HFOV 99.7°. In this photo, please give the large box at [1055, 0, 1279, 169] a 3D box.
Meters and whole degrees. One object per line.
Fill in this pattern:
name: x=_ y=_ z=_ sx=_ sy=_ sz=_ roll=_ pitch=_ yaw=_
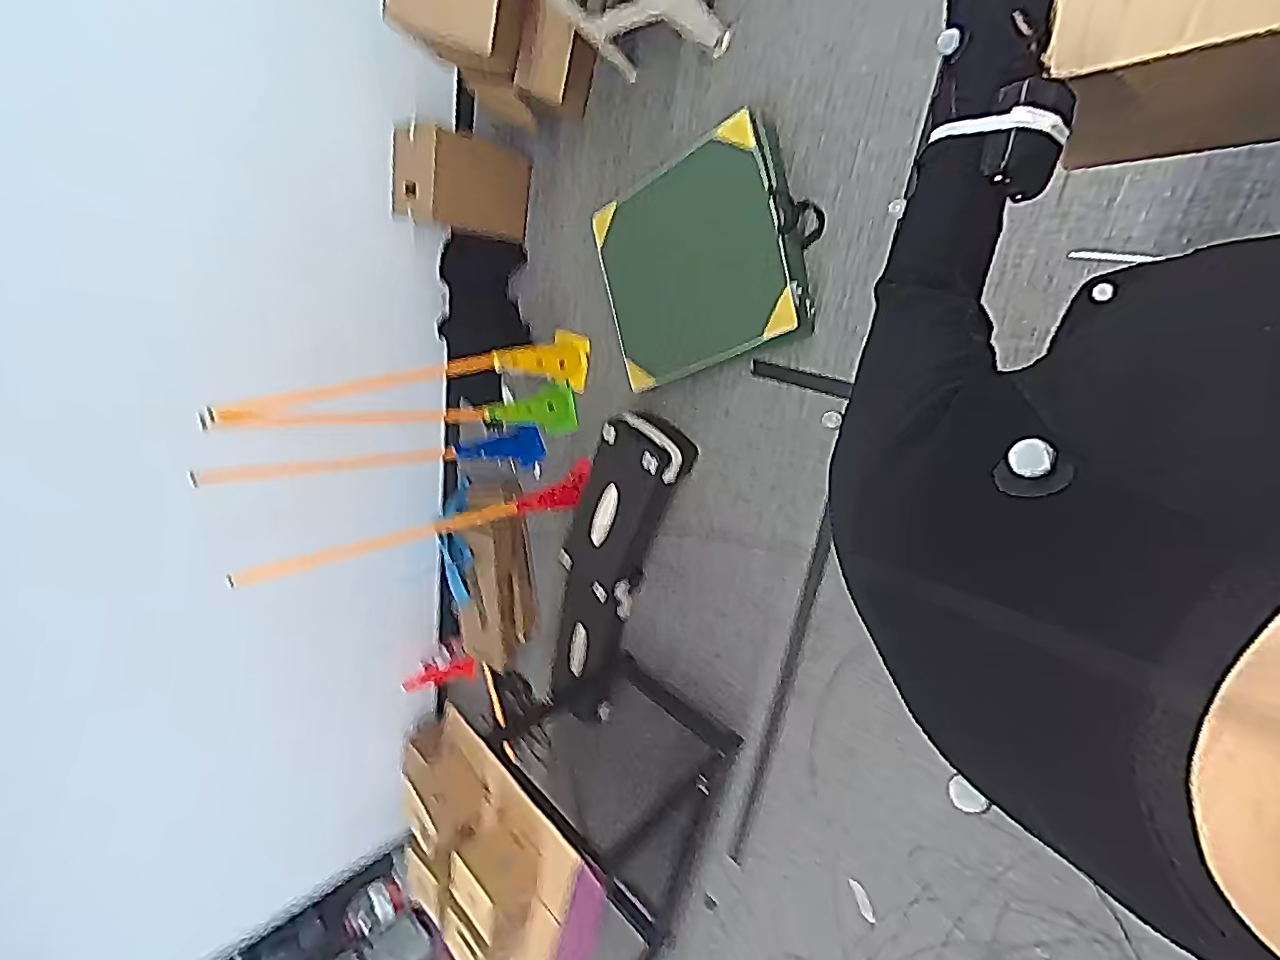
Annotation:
large box: x=0.560 y=-0.442 z=0.359 sx=0.408 sy=0.320 sz=0.320 roll=14 pitch=111 yaw=38
